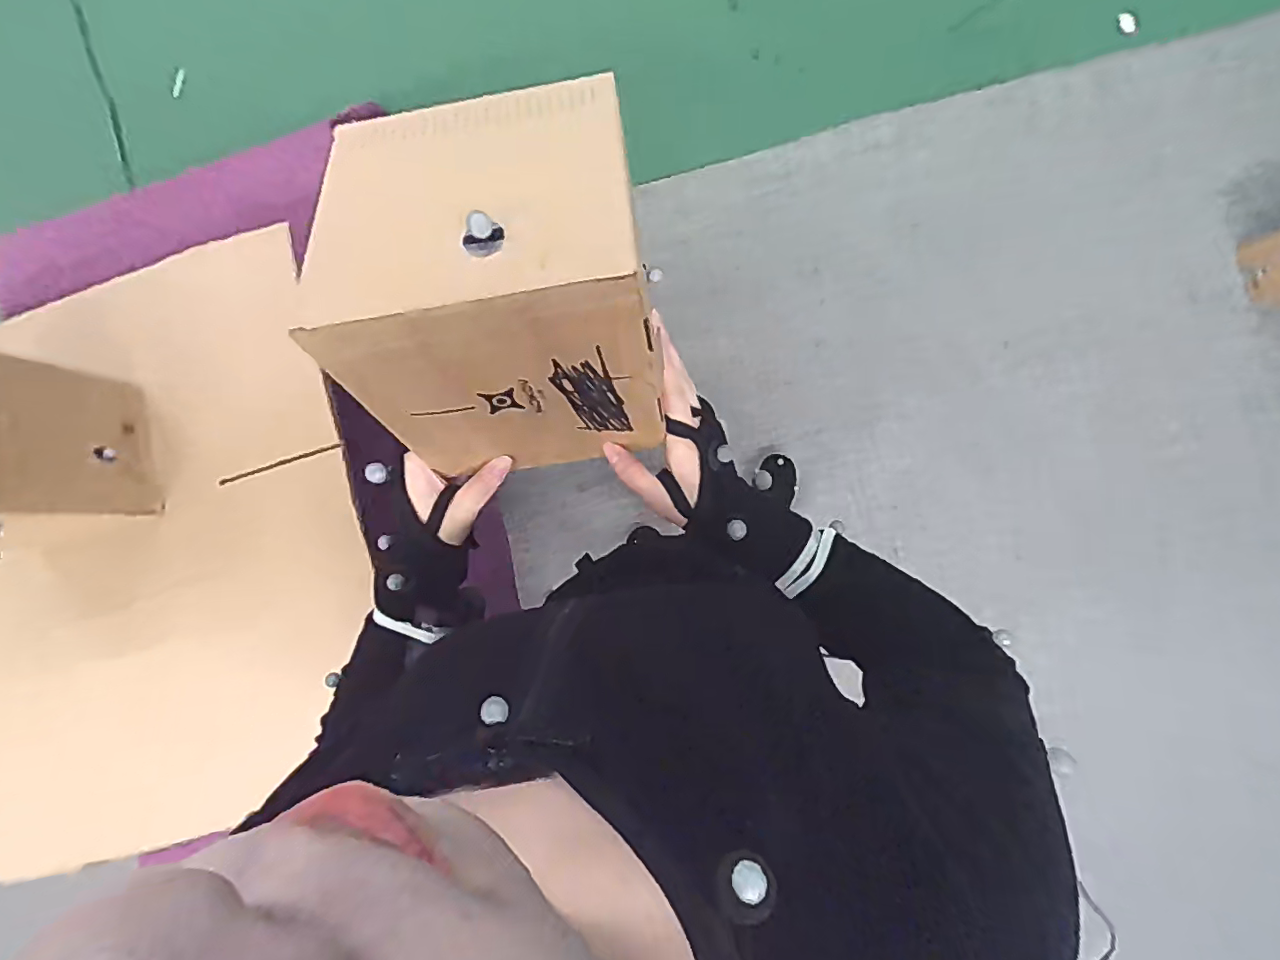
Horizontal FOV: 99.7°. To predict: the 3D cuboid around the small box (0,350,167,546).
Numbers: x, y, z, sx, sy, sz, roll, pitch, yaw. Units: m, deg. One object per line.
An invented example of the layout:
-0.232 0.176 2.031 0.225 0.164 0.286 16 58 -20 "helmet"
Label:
-0.682 -0.024 0.591 0.179 0.176 0.168 -15 85 4 "small box"
